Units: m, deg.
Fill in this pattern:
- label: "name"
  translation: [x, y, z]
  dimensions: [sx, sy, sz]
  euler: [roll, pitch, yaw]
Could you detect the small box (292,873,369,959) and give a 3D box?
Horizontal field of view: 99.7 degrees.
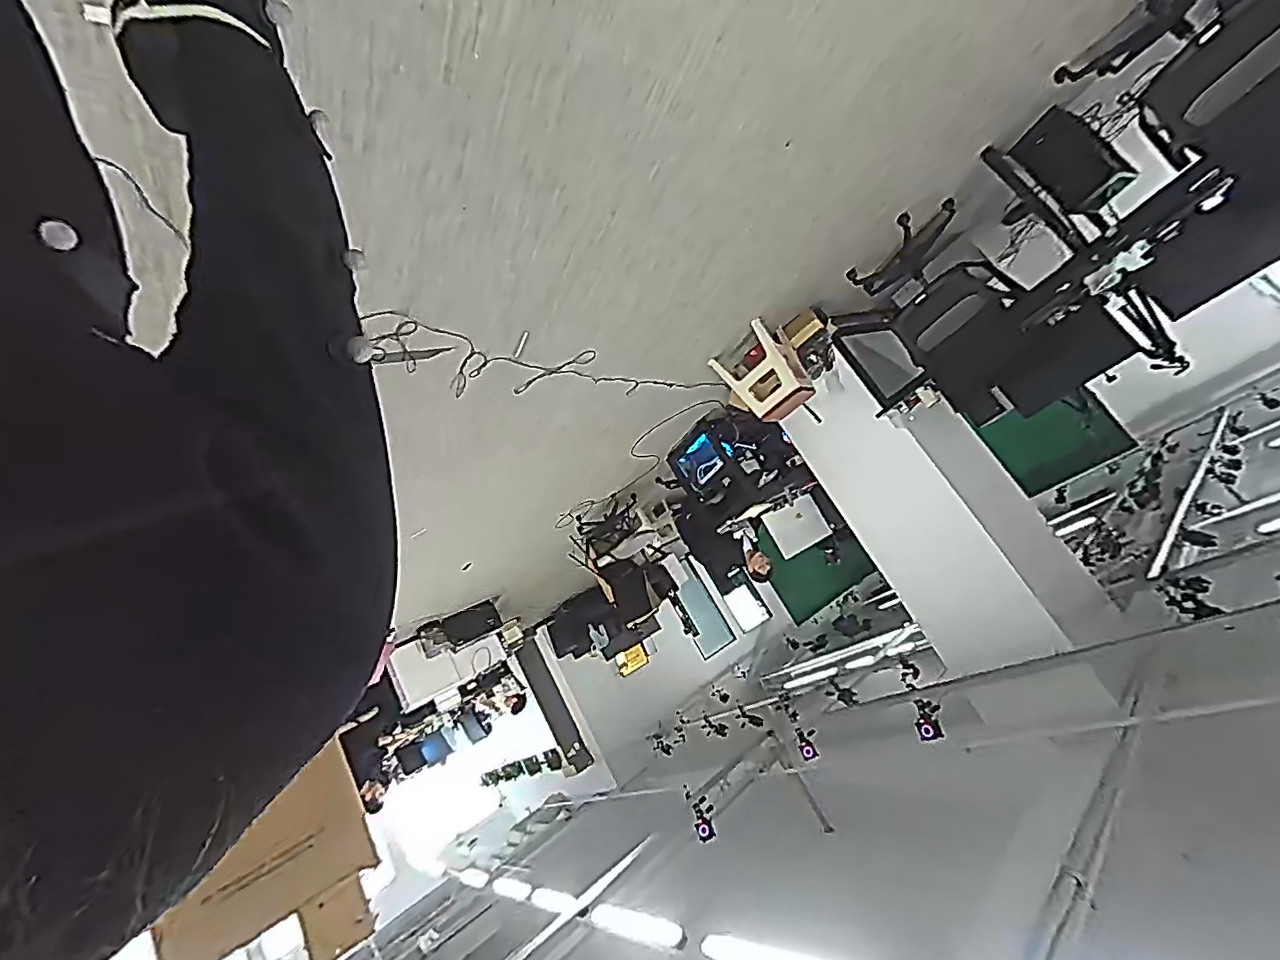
- label: "small box"
  translation: [-0.997, 1.408, 1.746]
  dimensions: [0.179, 0.176, 0.168]
  euler: [-19, 161, -34]
